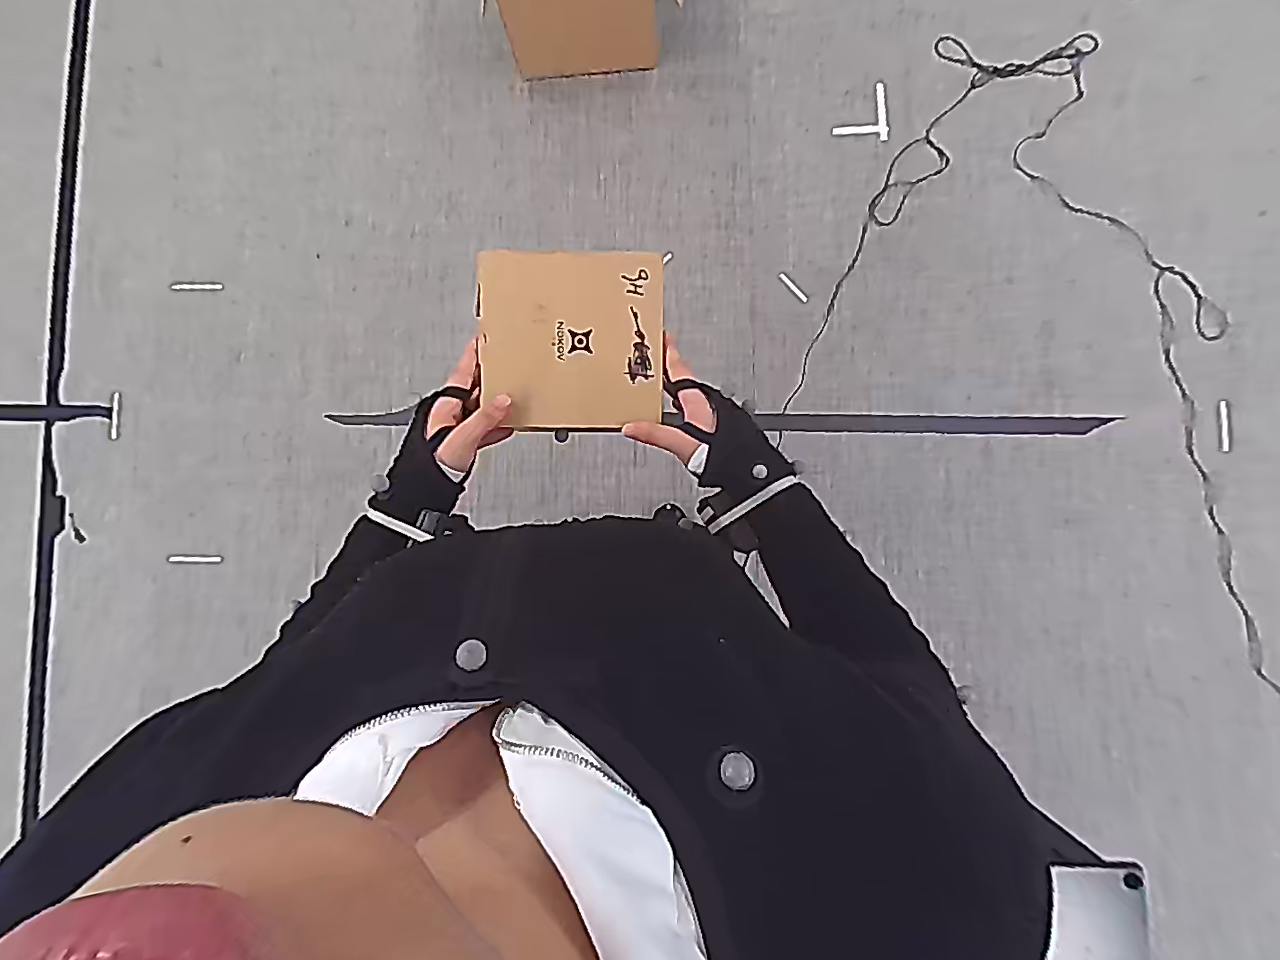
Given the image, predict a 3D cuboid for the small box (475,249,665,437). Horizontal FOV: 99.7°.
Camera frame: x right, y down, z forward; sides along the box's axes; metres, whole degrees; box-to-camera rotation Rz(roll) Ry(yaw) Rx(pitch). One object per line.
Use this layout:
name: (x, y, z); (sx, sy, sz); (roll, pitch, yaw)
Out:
small box: (-0.067, -0.133, 0.581); (0.179, 0.176, 0.168); (0, 93, -2)
